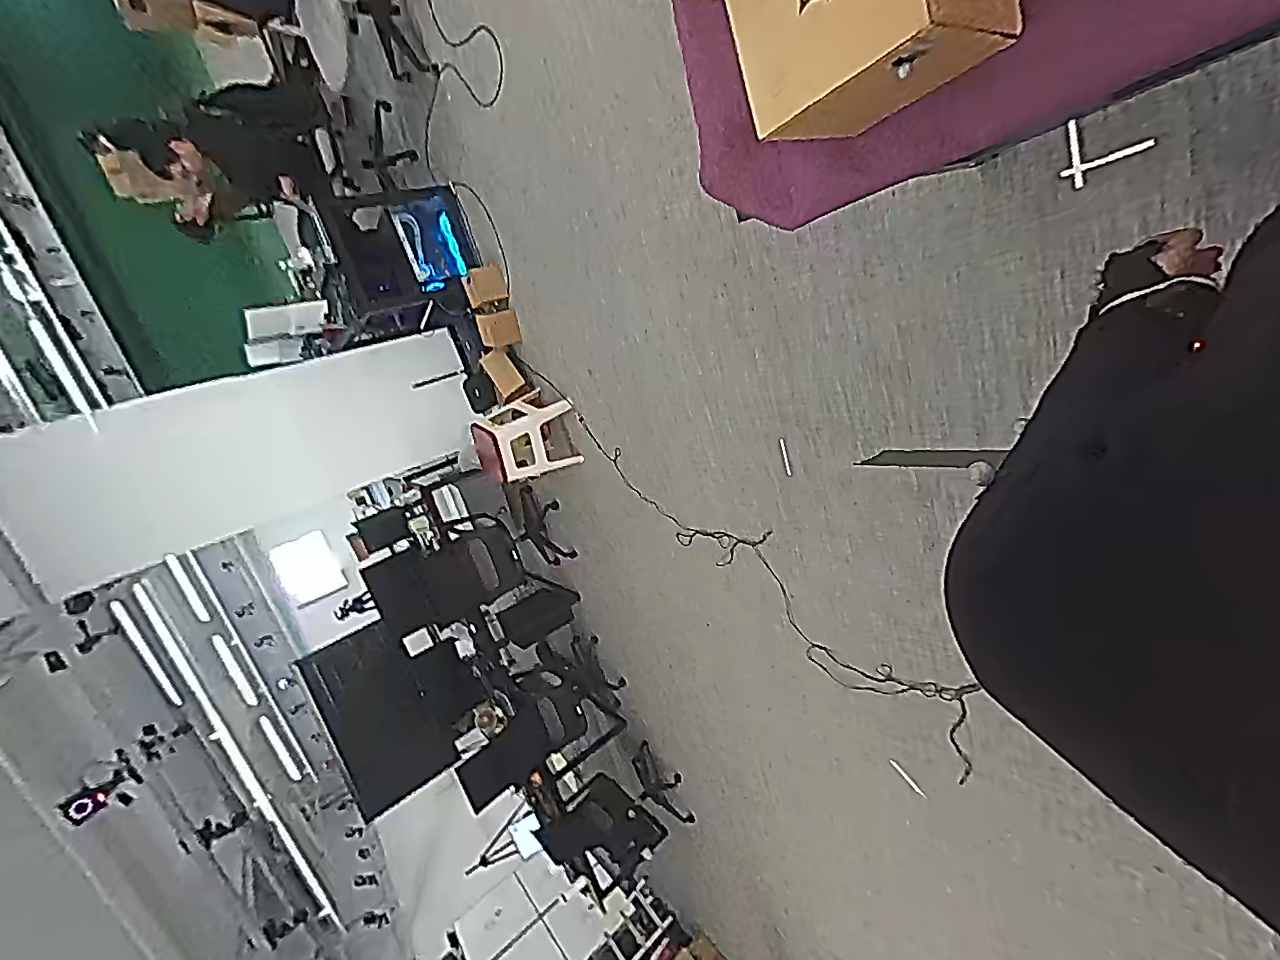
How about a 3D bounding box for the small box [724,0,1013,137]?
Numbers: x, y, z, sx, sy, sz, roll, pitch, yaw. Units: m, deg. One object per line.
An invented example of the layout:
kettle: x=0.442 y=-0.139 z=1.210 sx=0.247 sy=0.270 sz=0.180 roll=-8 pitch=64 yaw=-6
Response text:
small box: x=0.205 y=-0.448 z=0.502 sx=0.179 sy=0.176 sz=0.168 roll=-1 pitch=110 yaw=56
